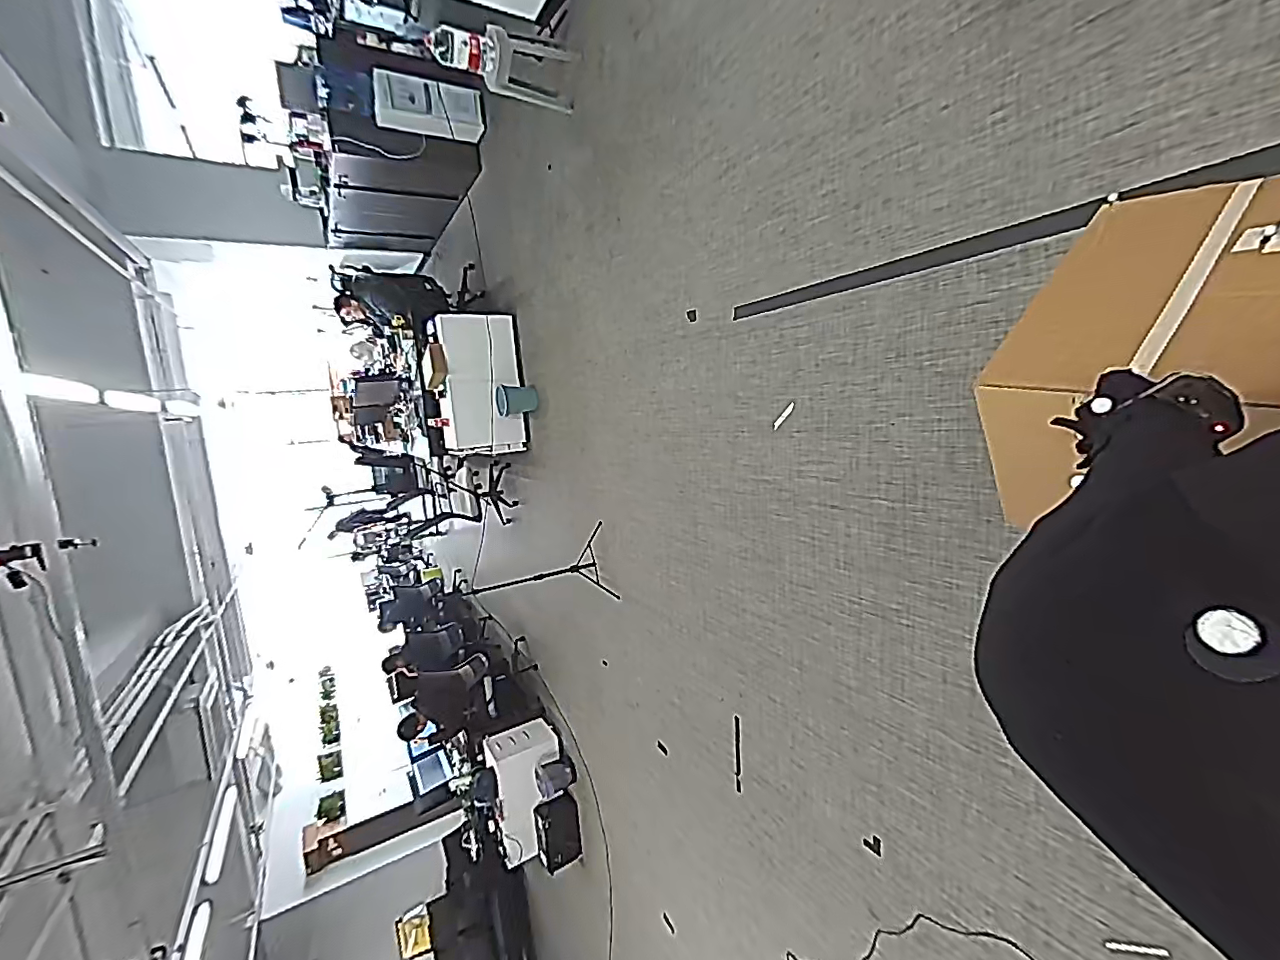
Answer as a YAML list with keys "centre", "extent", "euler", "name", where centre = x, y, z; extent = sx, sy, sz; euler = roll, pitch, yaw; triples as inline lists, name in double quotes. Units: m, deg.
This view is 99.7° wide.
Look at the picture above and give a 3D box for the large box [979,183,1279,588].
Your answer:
- centre: [0.740, -0.133, 0.733]
  extent: [0.320, 0.408, 0.320]
  euler: [23, 156, 53]
  name: "large box"
